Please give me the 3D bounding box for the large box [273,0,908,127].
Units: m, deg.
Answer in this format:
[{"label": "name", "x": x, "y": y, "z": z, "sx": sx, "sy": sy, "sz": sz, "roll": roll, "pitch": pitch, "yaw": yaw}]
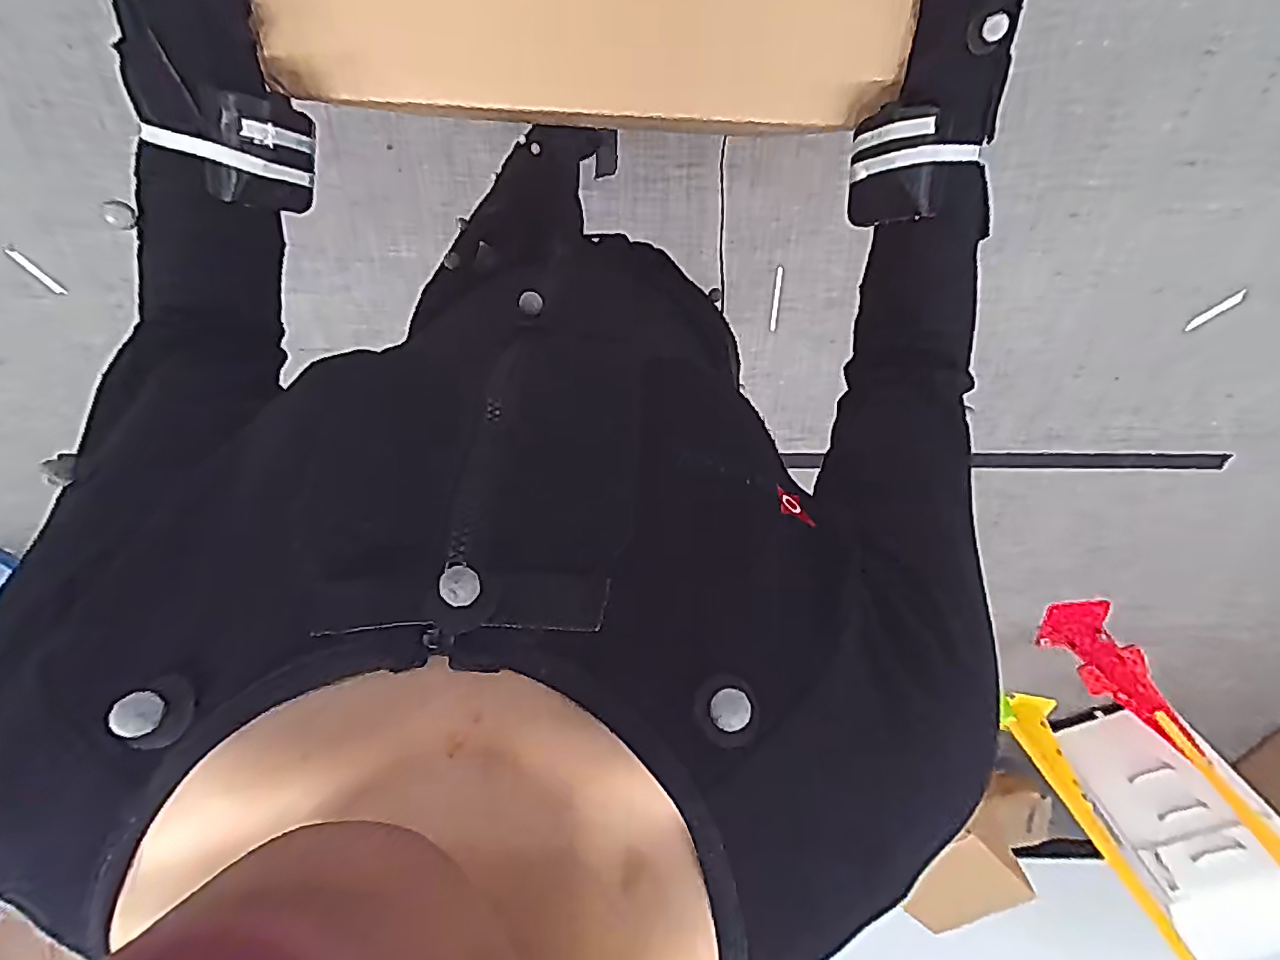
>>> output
[{"label": "large box", "x": -0.031, "y": -0.464, "z": 0.412, "sx": 0.408, "sy": 0.320, "sz": 0.320, "roll": 1, "pitch": 122, "yaw": -2}]
